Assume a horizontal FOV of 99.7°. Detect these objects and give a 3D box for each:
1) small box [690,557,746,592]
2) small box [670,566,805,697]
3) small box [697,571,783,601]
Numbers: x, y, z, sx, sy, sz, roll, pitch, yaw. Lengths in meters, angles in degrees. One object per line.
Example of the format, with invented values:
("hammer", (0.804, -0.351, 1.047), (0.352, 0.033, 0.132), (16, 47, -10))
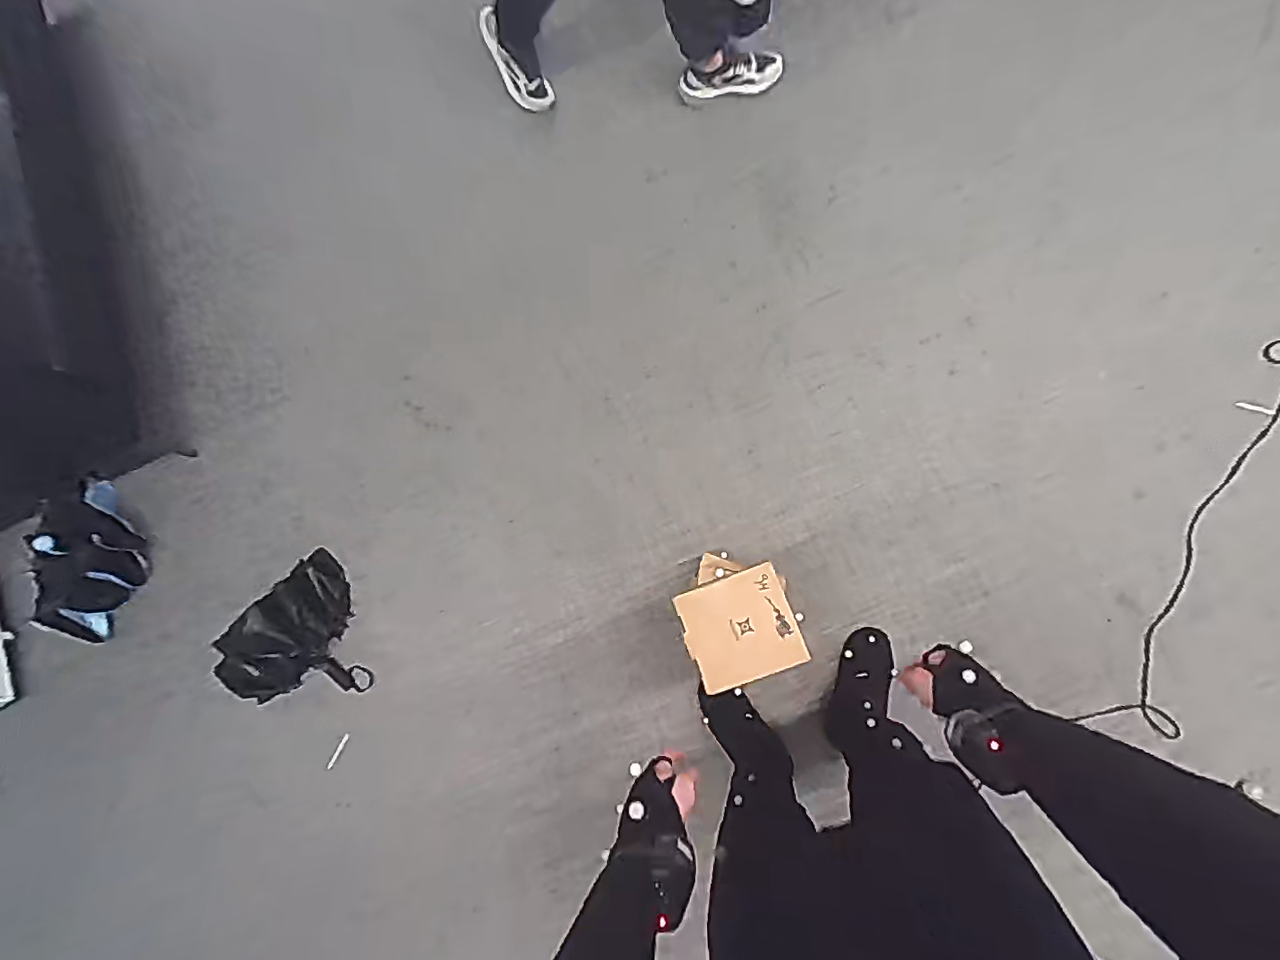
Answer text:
("small box", (0.206, 0.289, 1.274), (0.179, 0.176, 0.168), (19, 84, 11))
("small box", (0.169, 0.258, 0.949), (0.179, 0.176, 0.168), (-21, 78, 6))
("small box", (0.195, 0.284, 1.108), (0.168, 0.176, 0.179), (6, 82, 11))
